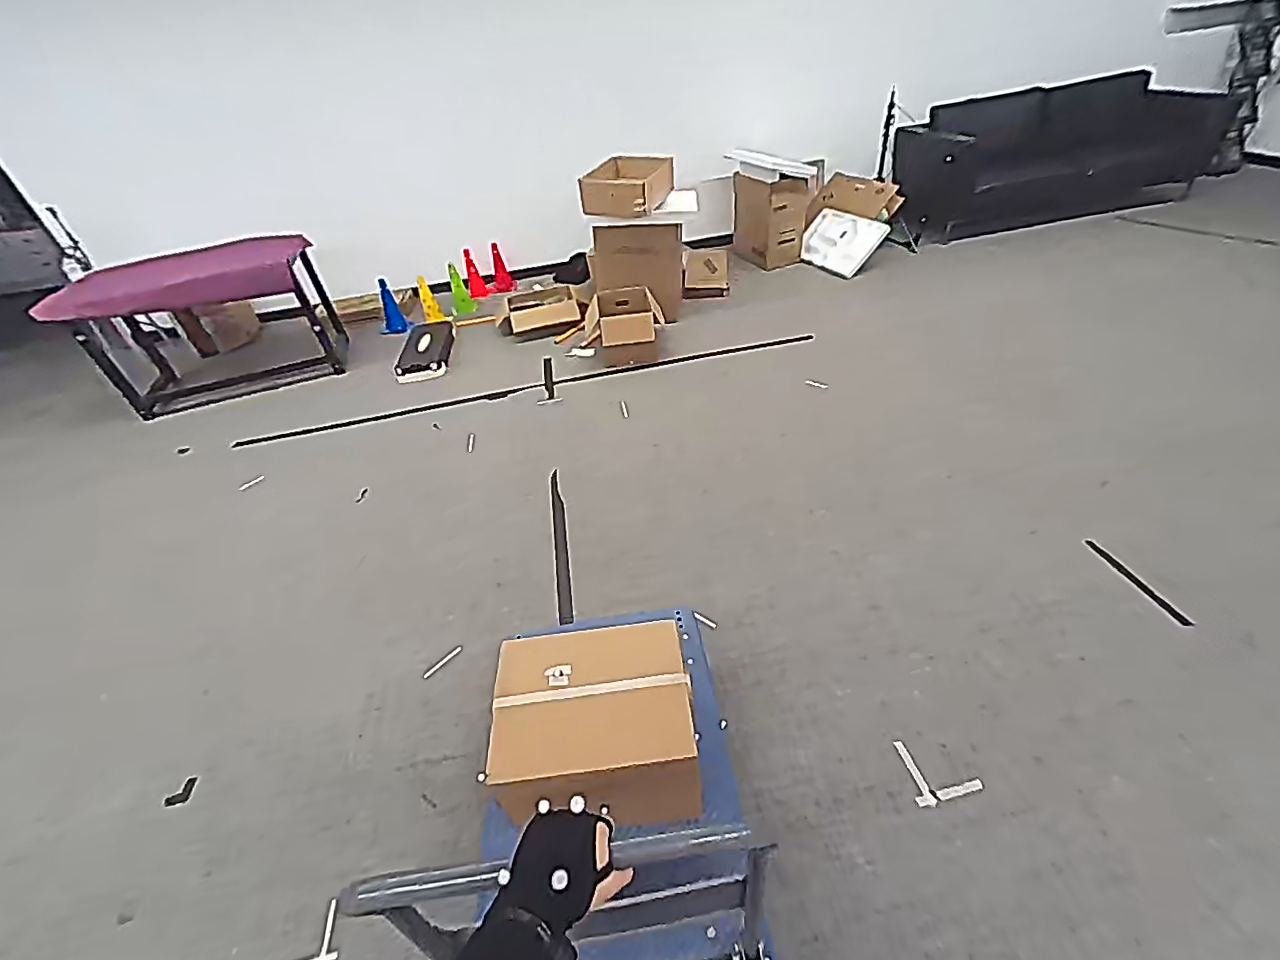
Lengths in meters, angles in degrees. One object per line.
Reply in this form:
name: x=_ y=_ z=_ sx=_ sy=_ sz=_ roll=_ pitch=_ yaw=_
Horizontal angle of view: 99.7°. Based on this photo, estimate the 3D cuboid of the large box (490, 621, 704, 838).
large box: x=-0.085 y=0.566 z=1.230 sx=0.408 sy=0.320 sz=0.320 roll=-9 pitch=38 yaw=0
